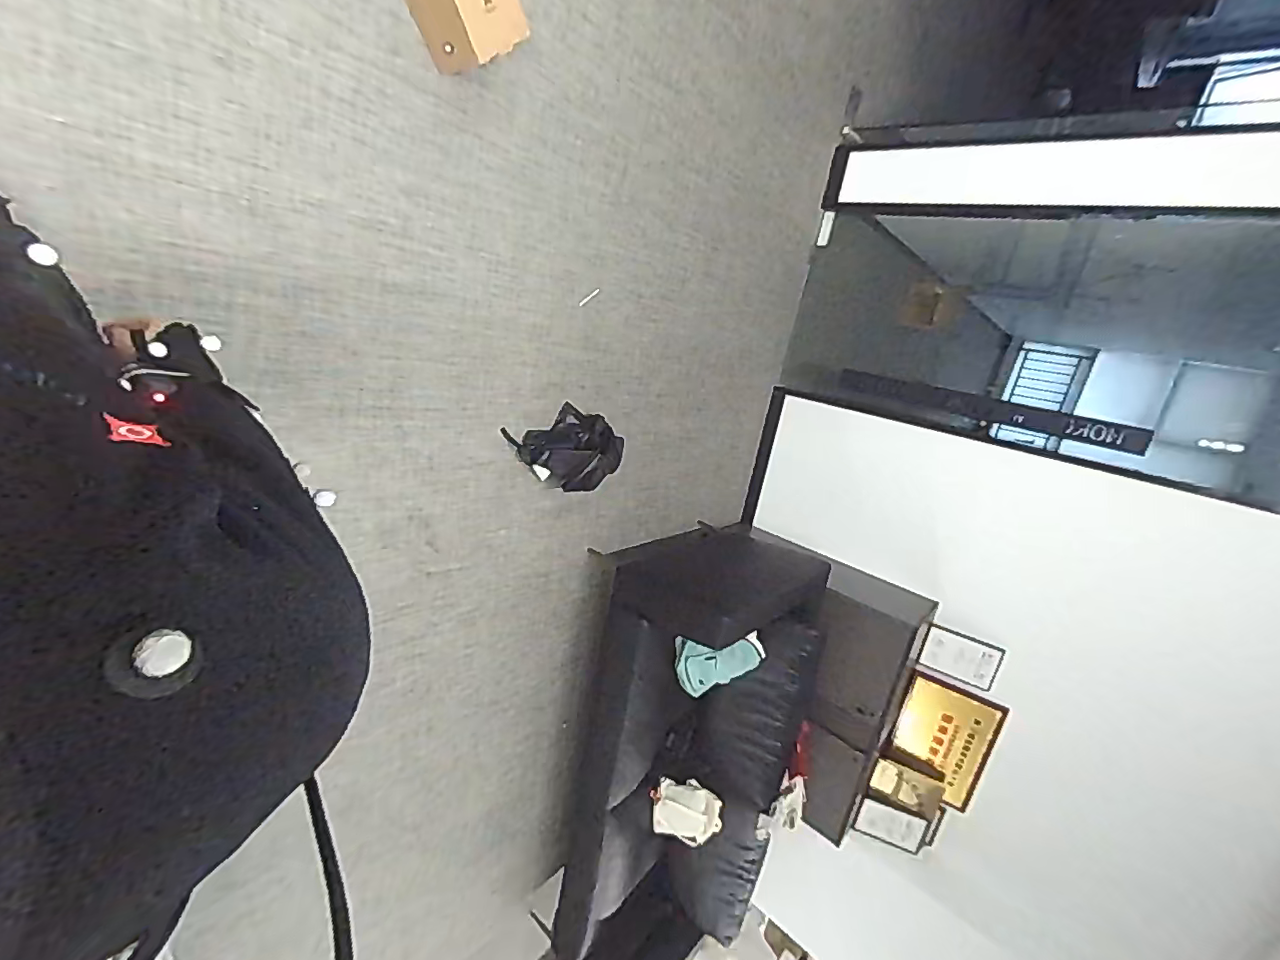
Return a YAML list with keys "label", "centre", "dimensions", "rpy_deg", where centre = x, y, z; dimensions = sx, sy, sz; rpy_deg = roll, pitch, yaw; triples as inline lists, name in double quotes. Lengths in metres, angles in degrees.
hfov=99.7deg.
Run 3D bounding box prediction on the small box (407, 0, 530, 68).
- label: "small box"
  centre: [-0.379, -1.026, 1.172]
  dimensions: [0.168, 0.176, 0.179]
  rpy_deg: [-51, 141, -23]
